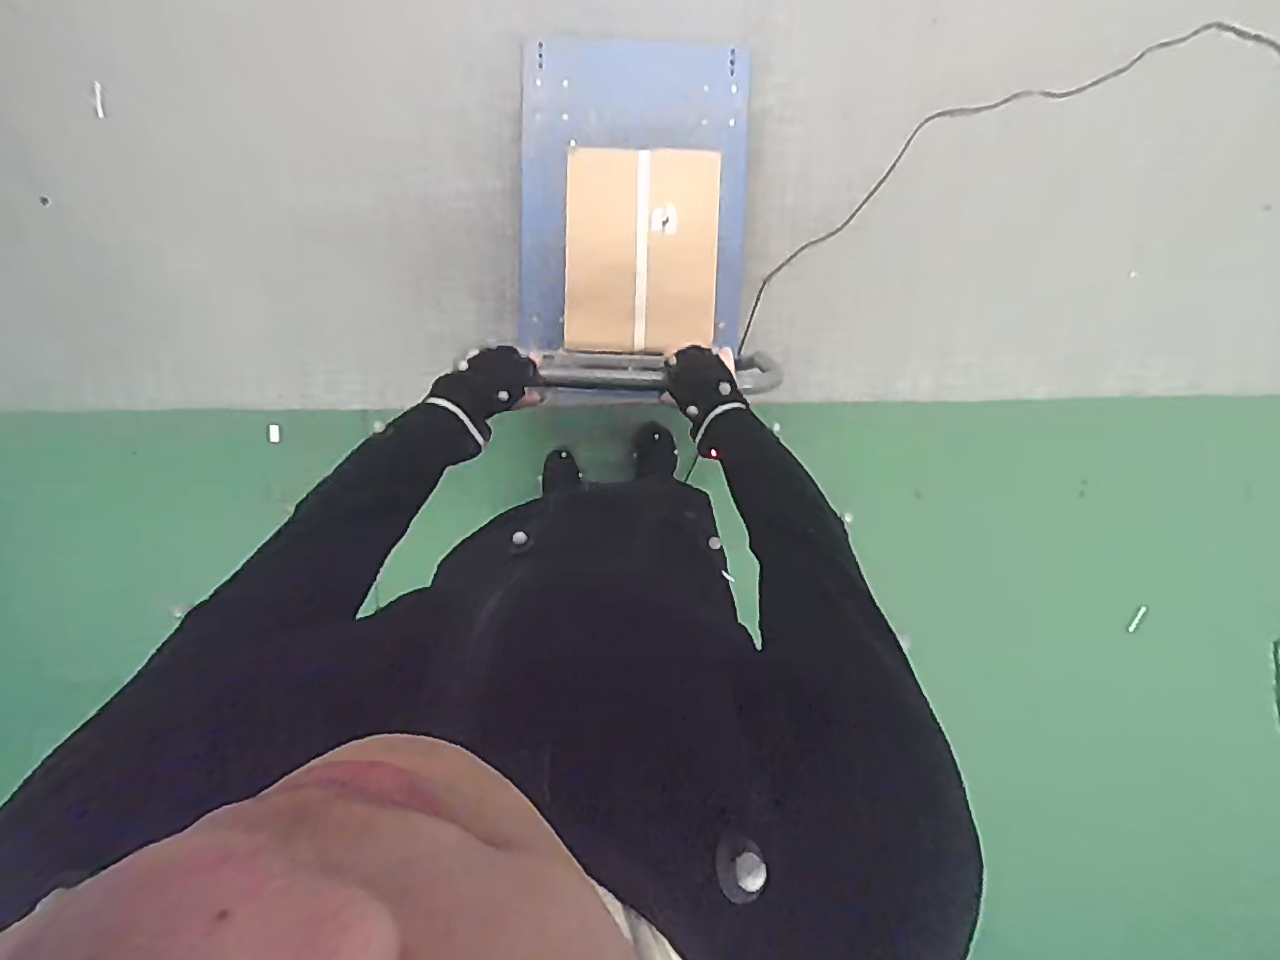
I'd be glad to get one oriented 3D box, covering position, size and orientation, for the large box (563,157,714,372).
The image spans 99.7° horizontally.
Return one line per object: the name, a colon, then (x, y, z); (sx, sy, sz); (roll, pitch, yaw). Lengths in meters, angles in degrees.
large box: (-0.003, -0.470, 1.267); (0.320, 0.320, 0.408); (1, 95, -1)
